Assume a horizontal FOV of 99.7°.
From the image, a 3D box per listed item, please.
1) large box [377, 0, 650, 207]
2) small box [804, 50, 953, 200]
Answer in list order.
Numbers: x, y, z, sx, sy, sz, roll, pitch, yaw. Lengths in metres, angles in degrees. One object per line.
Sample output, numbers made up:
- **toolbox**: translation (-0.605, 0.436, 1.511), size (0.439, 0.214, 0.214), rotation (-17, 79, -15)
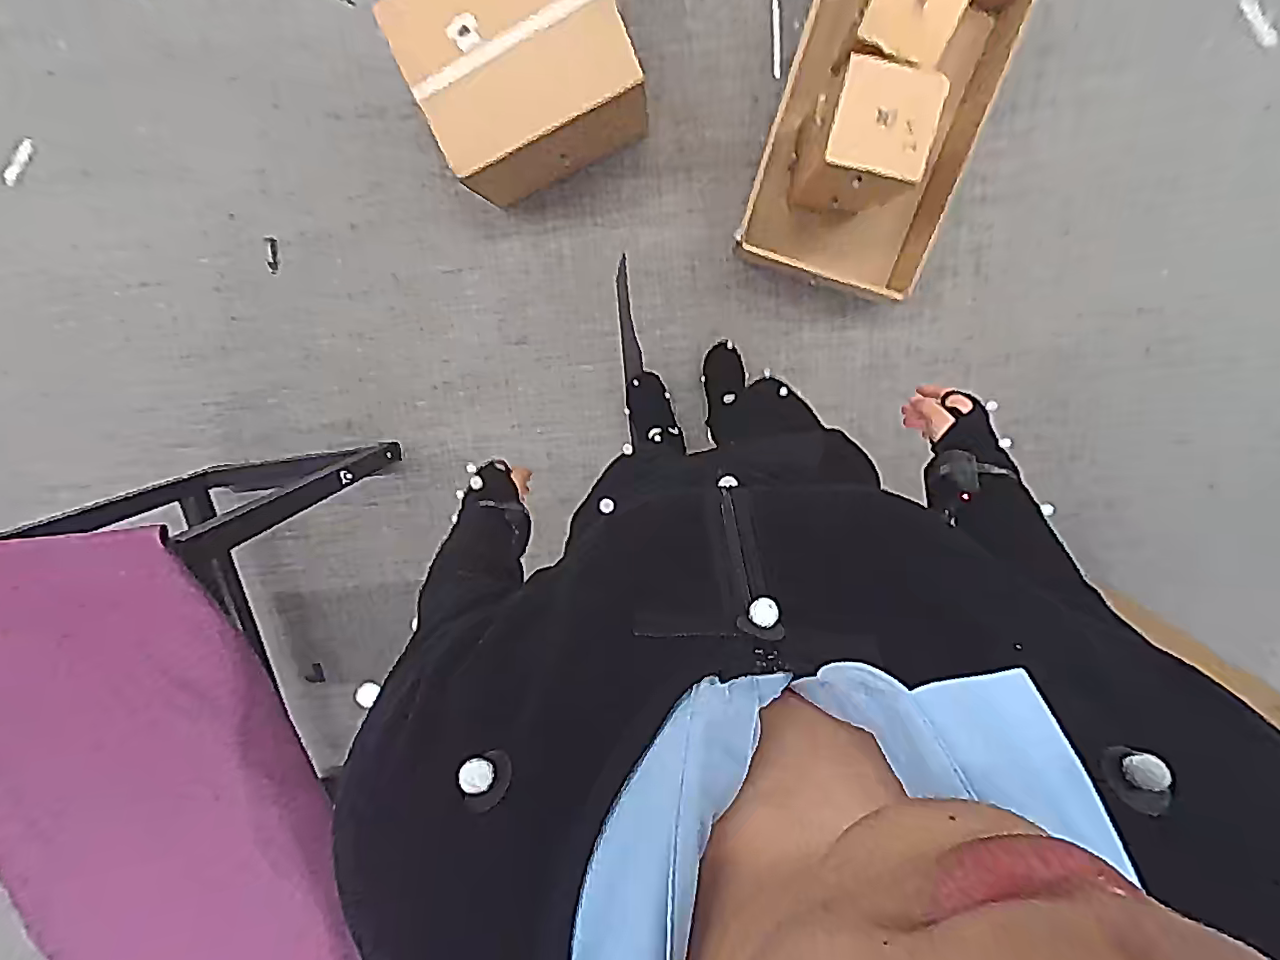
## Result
- **large box**: translation (-0.226, -0.829, 1.115), size (0.408, 0.320, 0.320), rotation (-23, 104, 10)
- **small box**: translation (0.419, -0.632, 0.987), size (0.179, 0.176, 0.168), rotation (12, 105, -2)
